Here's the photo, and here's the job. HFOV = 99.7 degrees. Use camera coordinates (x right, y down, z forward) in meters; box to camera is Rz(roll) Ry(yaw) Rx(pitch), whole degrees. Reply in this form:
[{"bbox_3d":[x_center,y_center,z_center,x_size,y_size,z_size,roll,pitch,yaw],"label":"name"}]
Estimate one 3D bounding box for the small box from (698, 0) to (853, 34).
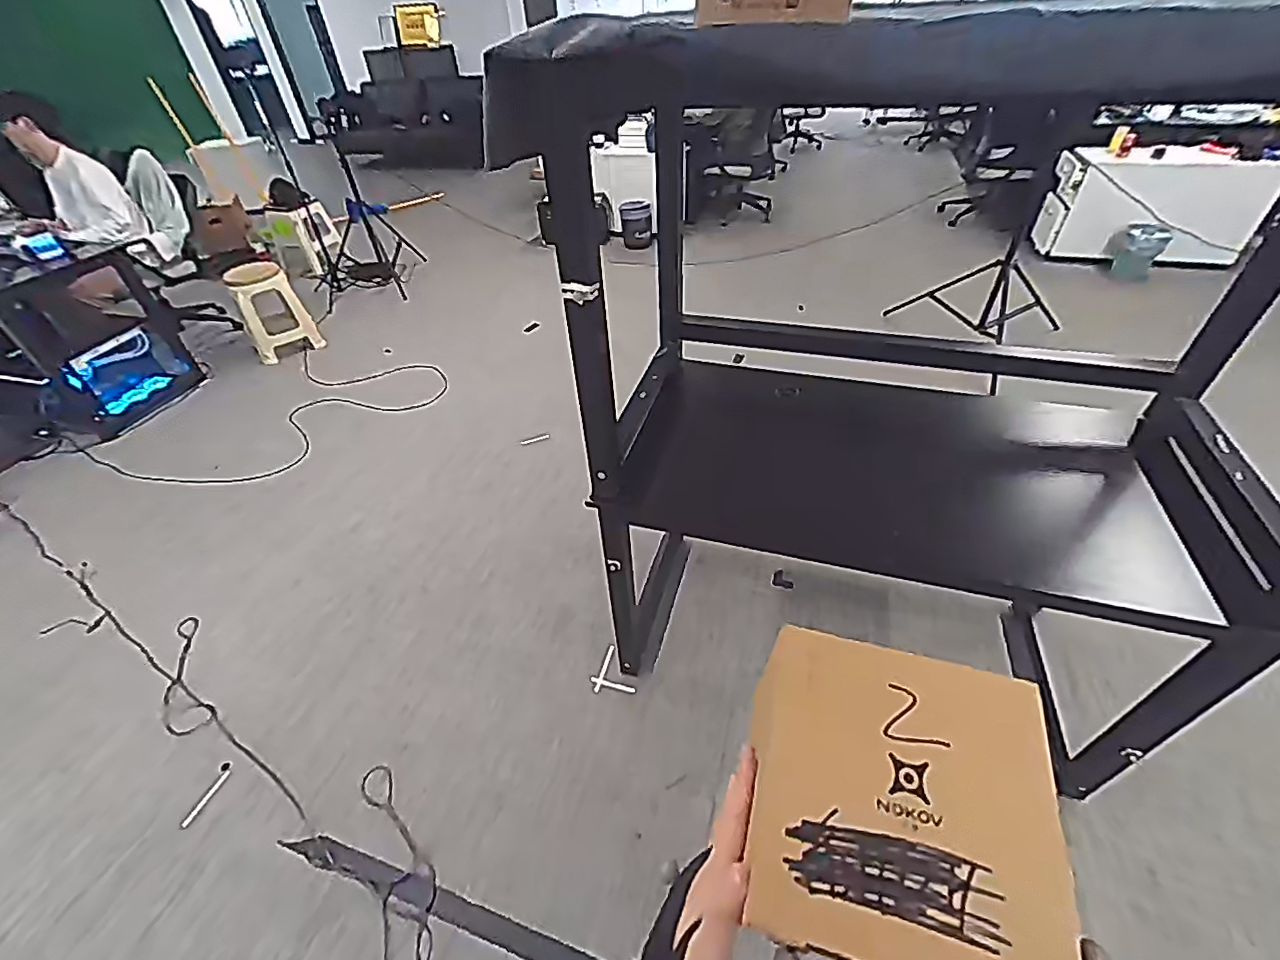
[{"bbox_3d":[0.158,-0.598,0.586,0.168,0.176,0.179,9,41,12],"label":"small box"}]
